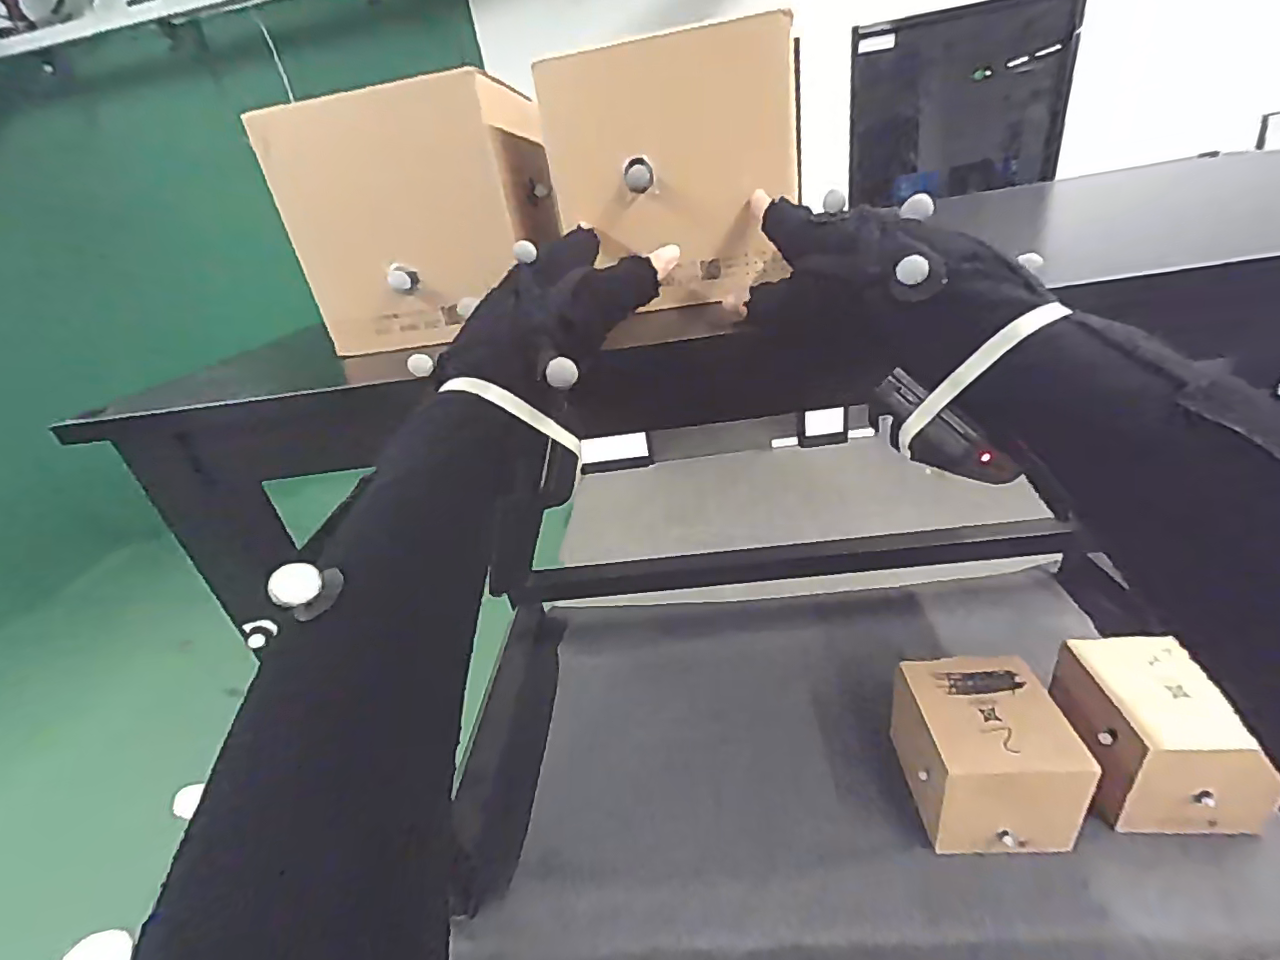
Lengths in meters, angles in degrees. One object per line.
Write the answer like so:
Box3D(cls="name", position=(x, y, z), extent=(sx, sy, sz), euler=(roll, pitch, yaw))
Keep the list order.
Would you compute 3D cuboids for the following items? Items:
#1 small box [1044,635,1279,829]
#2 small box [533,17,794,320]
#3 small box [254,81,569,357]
Box3D(cls="small box", position=(0.684, 0.334, 0.722), extent=(0.168, 0.176, 0.179), euler=(-5, 27, 9))
Box3D(cls="small box", position=(0.030, -0.236, 0.446), extent=(0.168, 0.176, 0.179), euler=(-6, 28, 8))
Box3D(cls="small box", position=(-0.165, -0.214, 0.463), extent=(0.168, 0.176, 0.179), euler=(-6, 29, 7))
